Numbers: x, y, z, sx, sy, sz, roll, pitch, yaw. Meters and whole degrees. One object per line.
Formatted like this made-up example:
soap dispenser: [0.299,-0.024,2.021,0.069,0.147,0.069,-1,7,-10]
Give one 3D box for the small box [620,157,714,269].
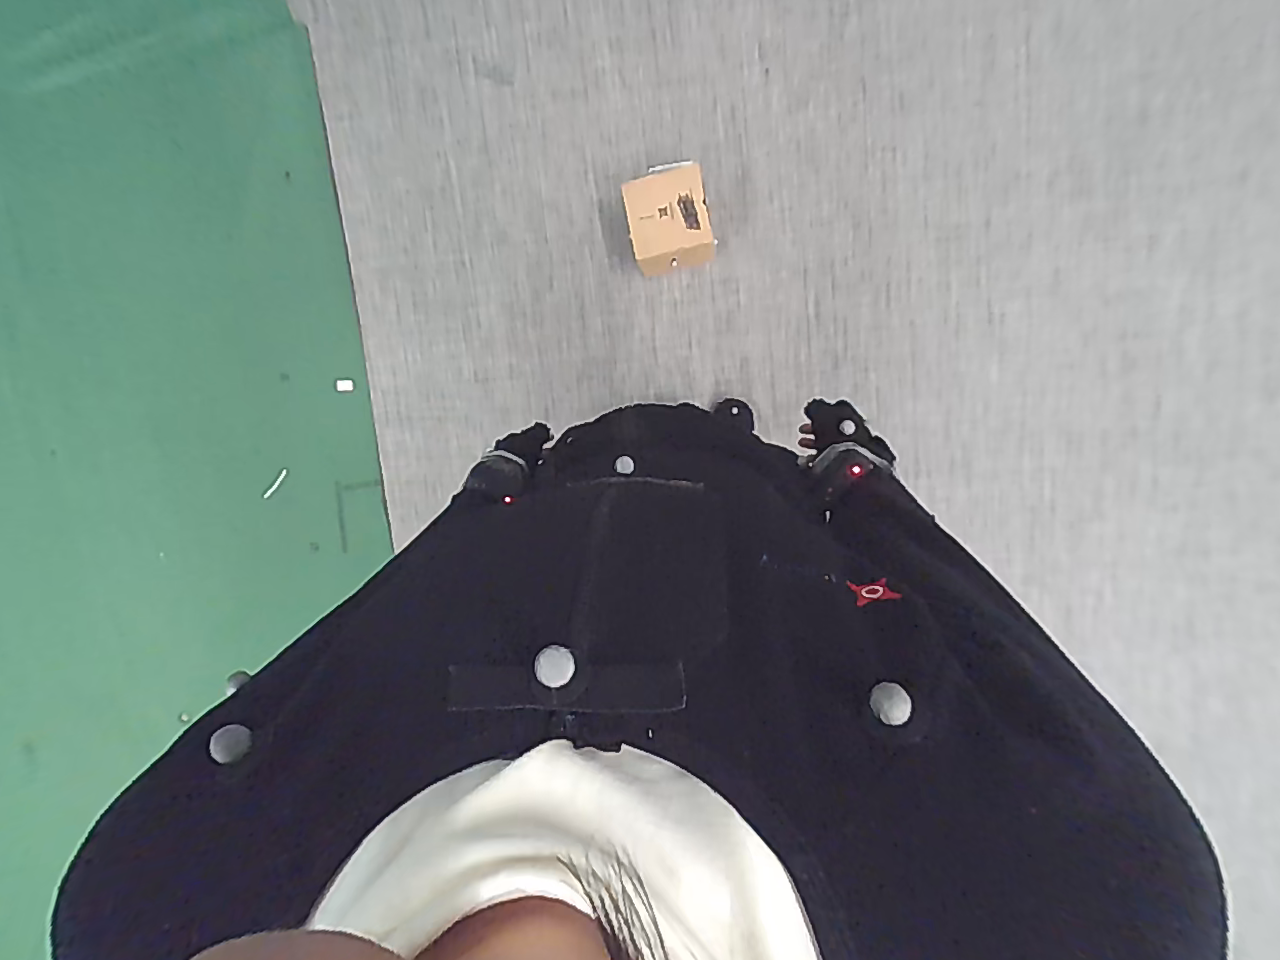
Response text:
small box: [0.065,-0.607,1.251,0.179,0.176,0.168,-14,98,9]
